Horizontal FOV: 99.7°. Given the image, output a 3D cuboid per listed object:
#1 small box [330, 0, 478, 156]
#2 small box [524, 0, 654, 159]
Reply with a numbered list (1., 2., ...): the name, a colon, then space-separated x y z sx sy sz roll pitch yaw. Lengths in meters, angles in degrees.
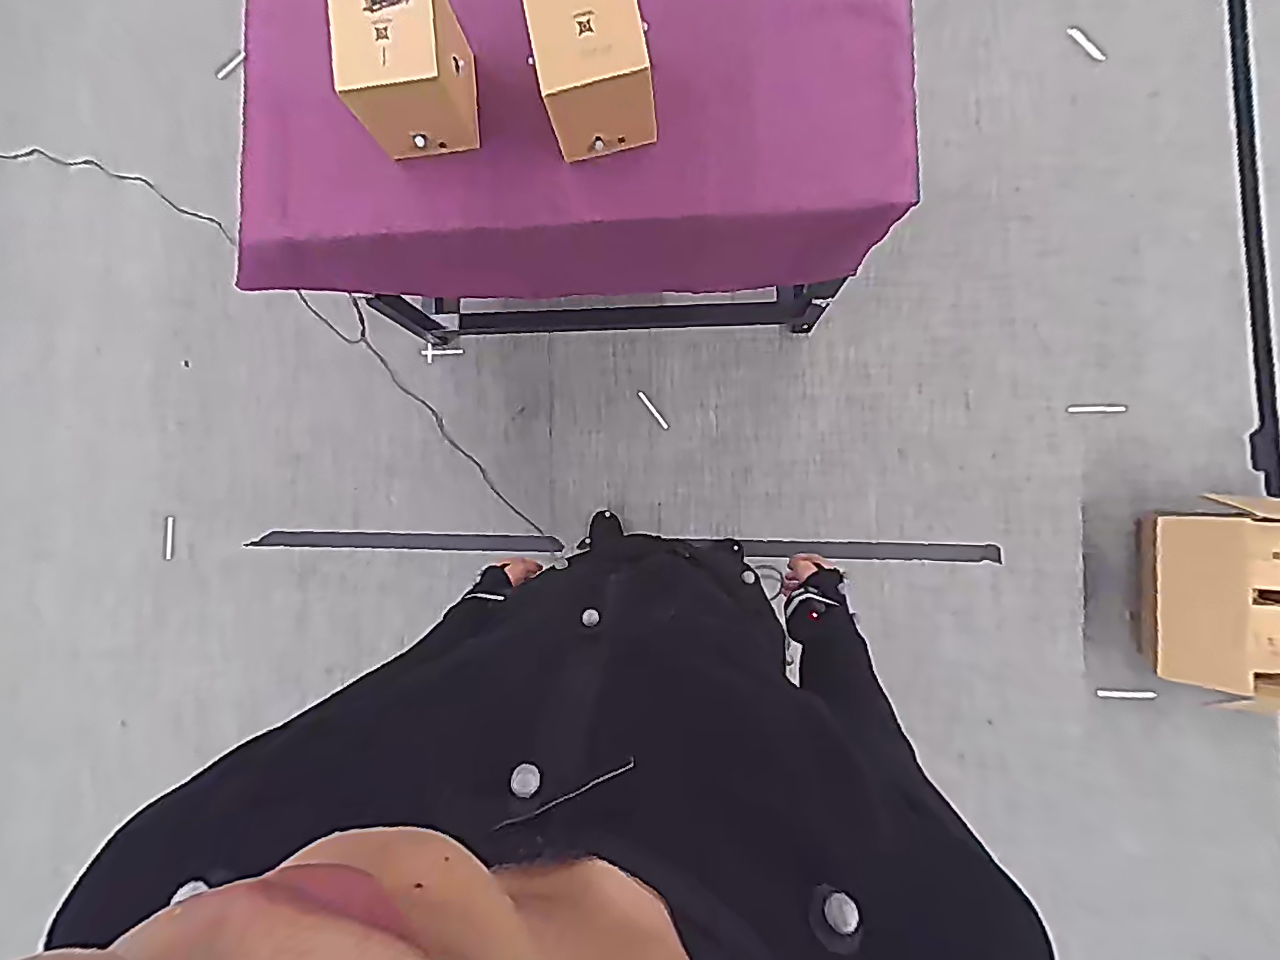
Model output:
1. small box: -0.380 -0.678 0.894 0.168 0.176 0.179 -5 88 5
2. small box: -0.075 -0.664 0.869 0.168 0.176 0.179 -11 86 5
